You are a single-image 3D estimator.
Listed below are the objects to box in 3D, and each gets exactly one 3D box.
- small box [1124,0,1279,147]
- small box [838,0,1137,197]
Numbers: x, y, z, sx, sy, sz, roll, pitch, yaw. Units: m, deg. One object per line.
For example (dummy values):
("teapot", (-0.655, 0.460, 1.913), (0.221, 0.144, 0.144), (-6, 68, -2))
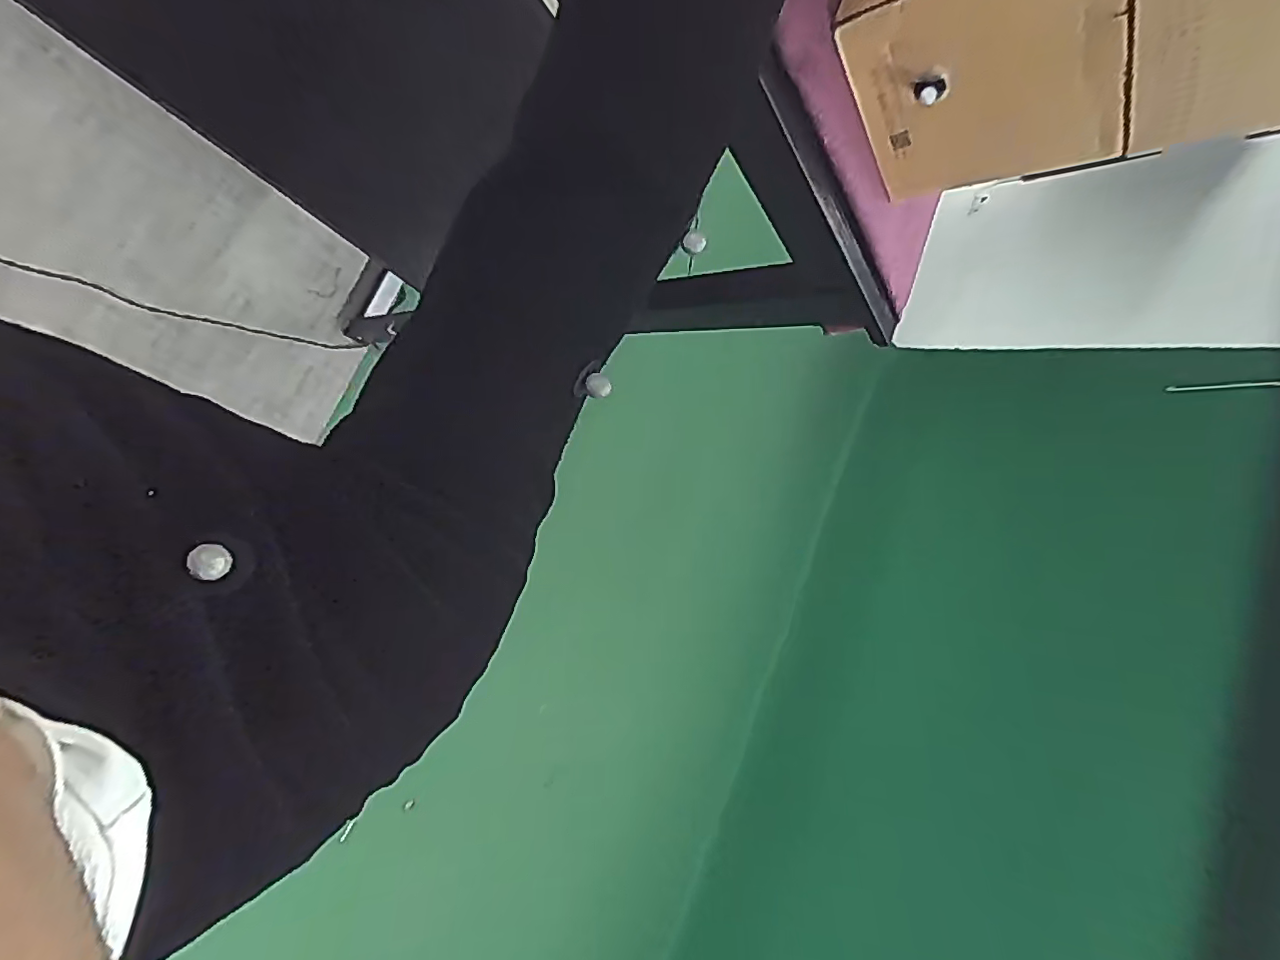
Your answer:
("small box", (0.381, -0.321, 0.285), (0.179, 0.176, 0.168), (34, 75, -44))
("small box", (0.271, -0.351, 0.404), (0.168, 0.176, 0.179), (35, 75, -45))
